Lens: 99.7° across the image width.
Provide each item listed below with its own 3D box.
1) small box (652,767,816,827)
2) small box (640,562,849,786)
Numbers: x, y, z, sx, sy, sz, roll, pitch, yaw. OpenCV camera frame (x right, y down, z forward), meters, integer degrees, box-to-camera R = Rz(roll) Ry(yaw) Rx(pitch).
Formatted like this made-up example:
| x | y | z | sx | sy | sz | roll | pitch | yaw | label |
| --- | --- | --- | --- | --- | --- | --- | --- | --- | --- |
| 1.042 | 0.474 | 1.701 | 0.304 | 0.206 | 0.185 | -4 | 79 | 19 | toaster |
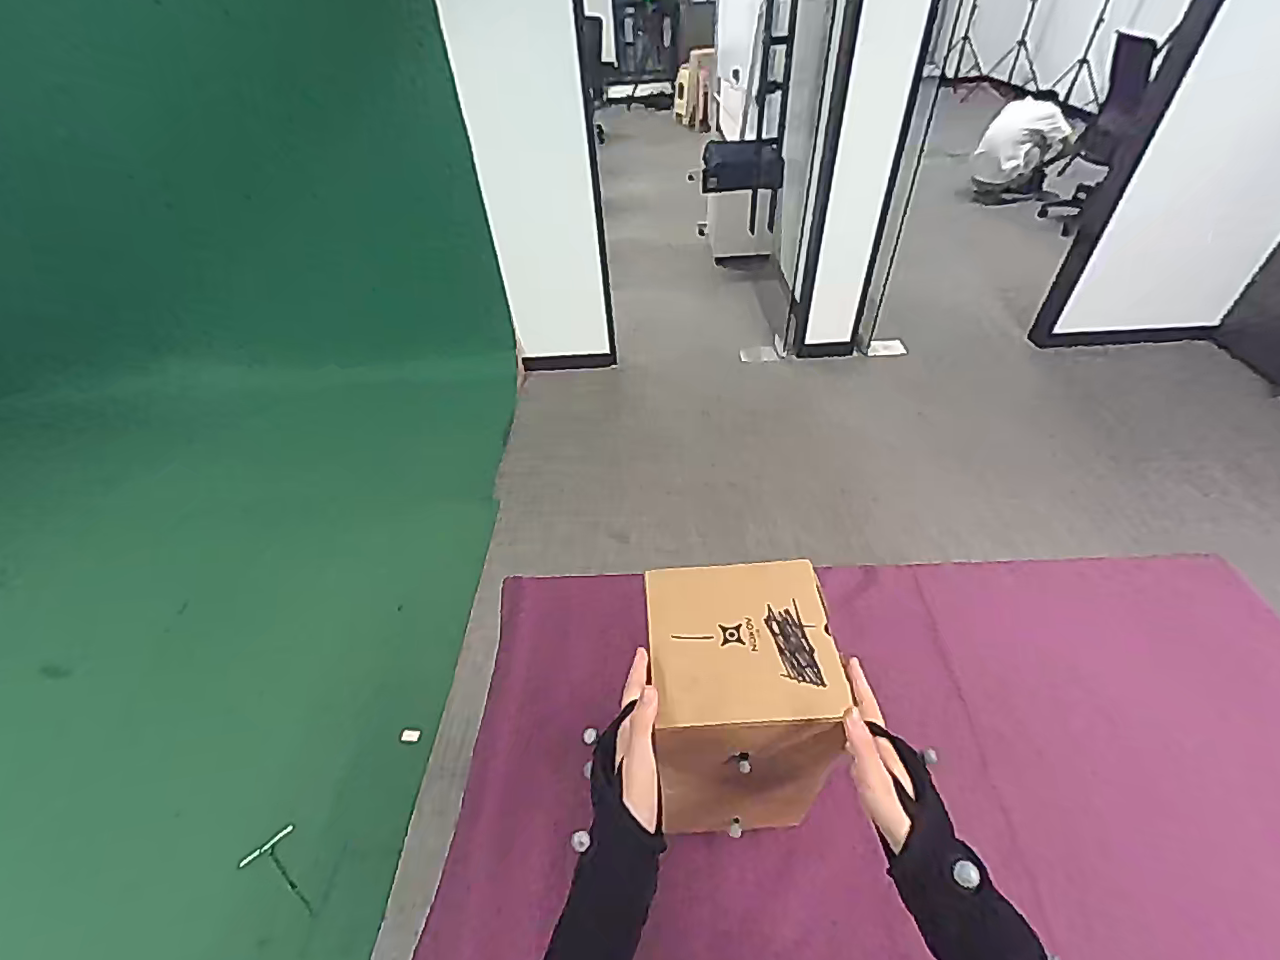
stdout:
| x | y | z | sx | sy | sz | roll | pitch | yaw | label |
| --- | --- | --- | --- | --- | --- | --- | --- | --- | --- |
| 0.101 | 0.322 | 0.684 | 0.179 | 0.176 | 0.168 | -4 | 45 | 0 | small box |
| 0.093 | 0.205 | 0.568 | 0.179 | 0.176 | 0.168 | -5 | 45 | 1 | small box |
